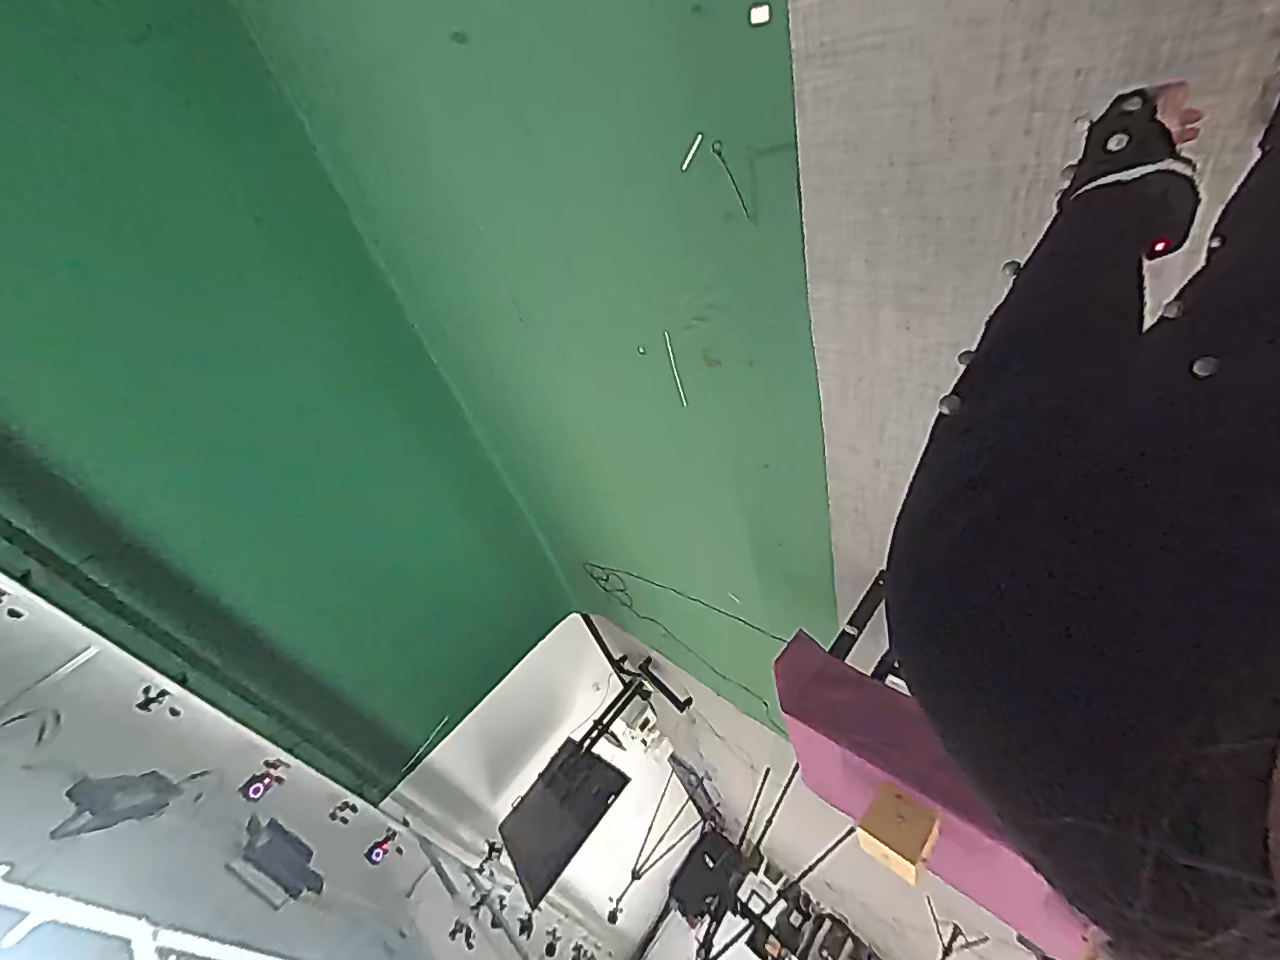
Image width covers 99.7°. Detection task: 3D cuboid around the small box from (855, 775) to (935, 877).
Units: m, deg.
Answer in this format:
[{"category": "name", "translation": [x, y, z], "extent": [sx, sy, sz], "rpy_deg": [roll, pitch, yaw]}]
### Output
[{"category": "small box", "translation": [0.760, 1.024, 1.613], "extent": [0.168, 0.176, 0.179], "rpy_deg": [21, 144, 42]}]

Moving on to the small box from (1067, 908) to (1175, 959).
[{"category": "small box", "translation": [1.128, 1.162, 1.266], "extent": [0.179, 0.176, 0.168], "rpy_deg": [21, 144, 42]}]
